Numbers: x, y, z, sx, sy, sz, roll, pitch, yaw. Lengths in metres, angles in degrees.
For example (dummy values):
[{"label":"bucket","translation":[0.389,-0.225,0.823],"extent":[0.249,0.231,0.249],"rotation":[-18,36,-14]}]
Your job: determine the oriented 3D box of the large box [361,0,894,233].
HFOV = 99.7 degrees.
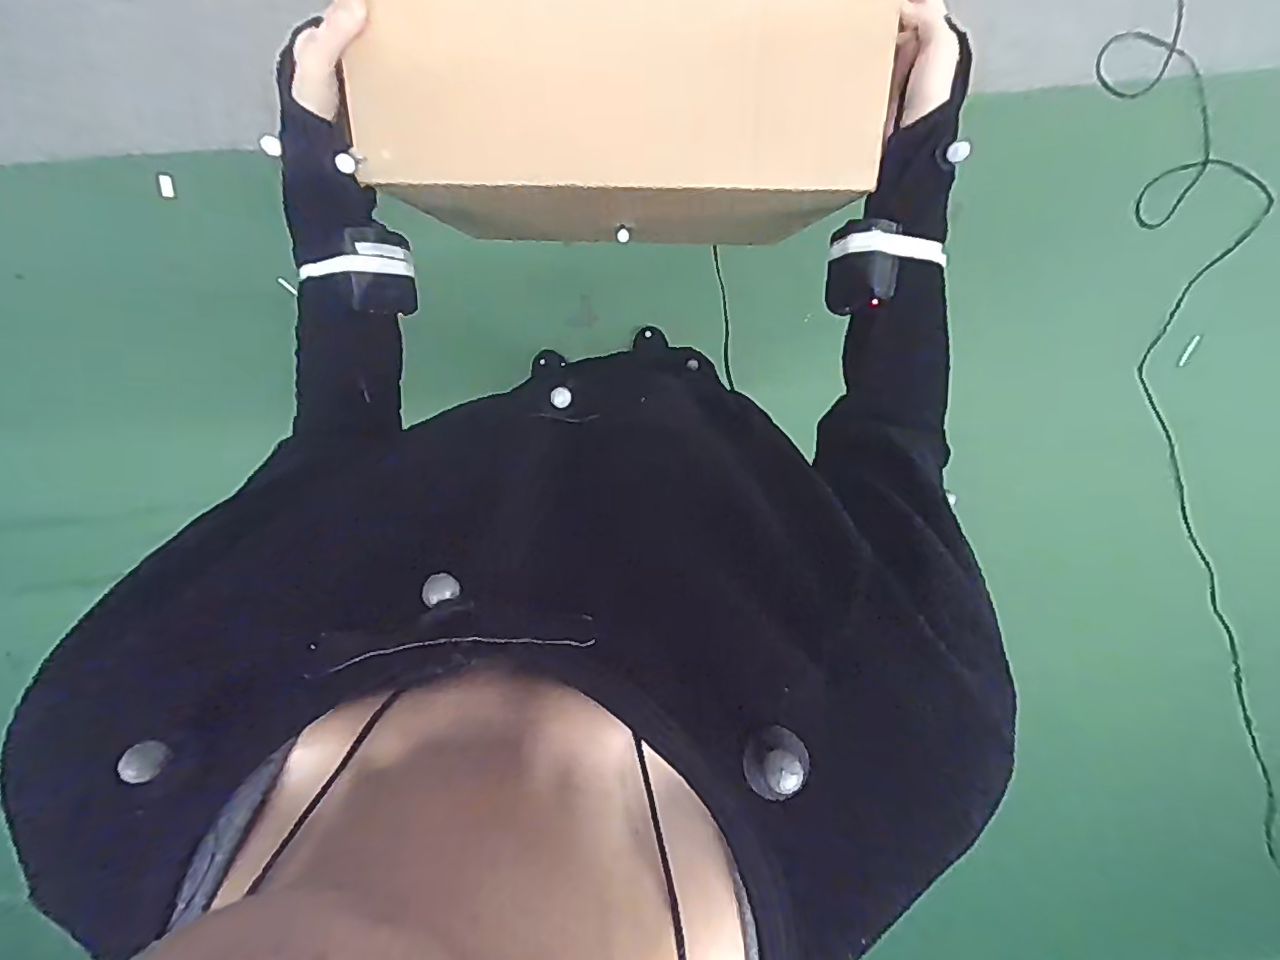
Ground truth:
[{"label":"large box","translation":[-0.007,-0.429,0.534],"extent":[0.408,0.320,0.320],"rotation":[0,106,0]}]
